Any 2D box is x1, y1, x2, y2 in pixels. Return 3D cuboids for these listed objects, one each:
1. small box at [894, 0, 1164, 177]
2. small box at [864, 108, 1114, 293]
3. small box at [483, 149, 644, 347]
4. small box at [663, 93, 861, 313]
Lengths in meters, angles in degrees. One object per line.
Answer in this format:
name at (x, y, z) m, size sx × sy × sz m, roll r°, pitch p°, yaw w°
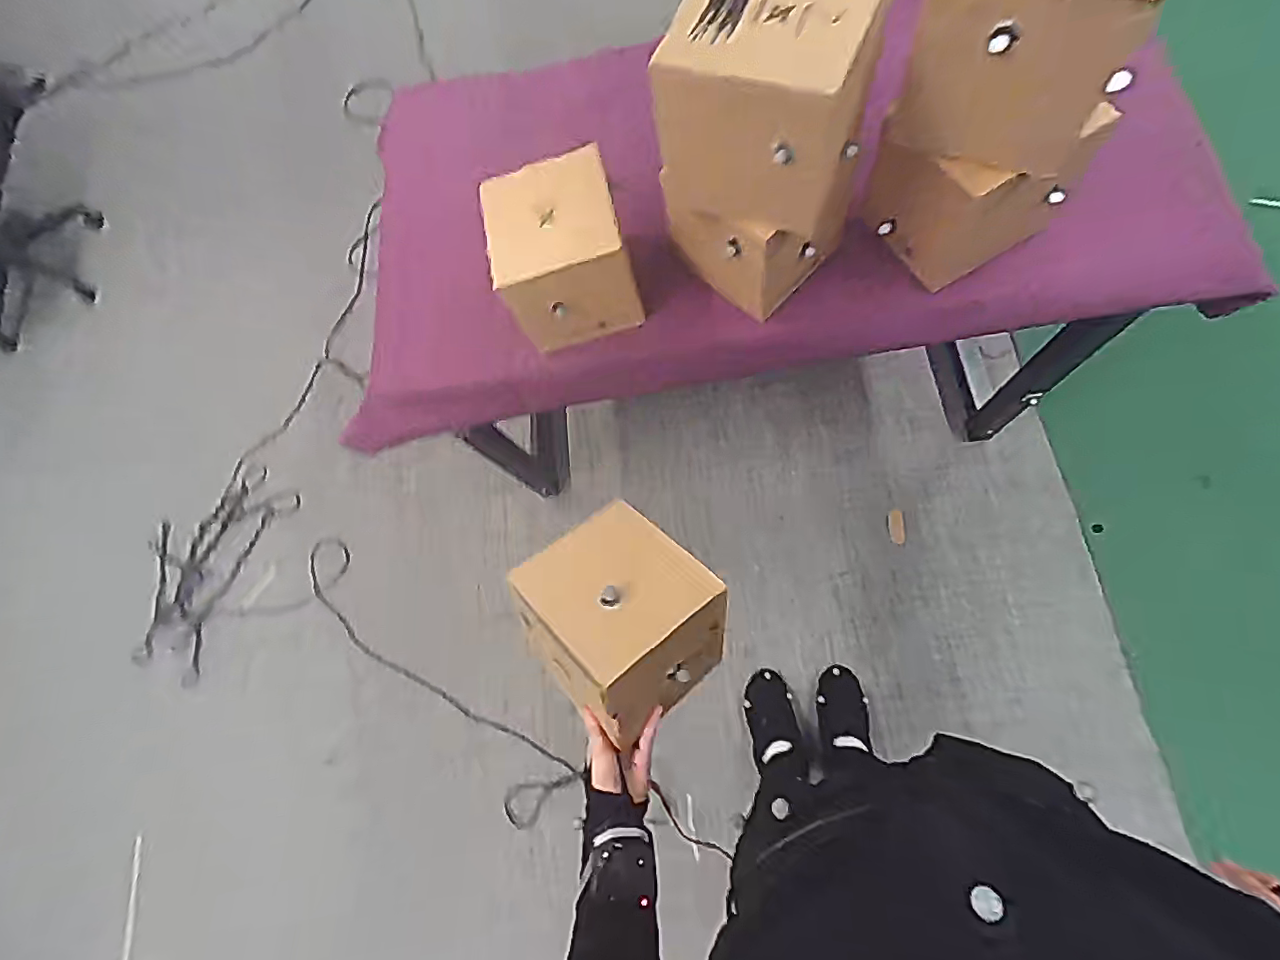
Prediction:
small box at (0.380, -0.437, 0.533) m, size 0.179 × 0.176 × 0.168 m, roll 26°, pitch 78°, yaw 18°
small box at (0.414, -0.377, 0.682) m, size 0.179 × 0.176 × 0.168 m, roll -29°, pitch 69°, yaw 2°
small box at (-0.100, -0.308, 0.759) m, size 0.168 × 0.176 × 0.179 m, roll -15°, pitch 70°, yaw 6°
small box at (0.157, -0.353, 0.722) m, size 0.168 × 0.176 × 0.179 m, roll -44°, pitch 70°, yaw -5°
